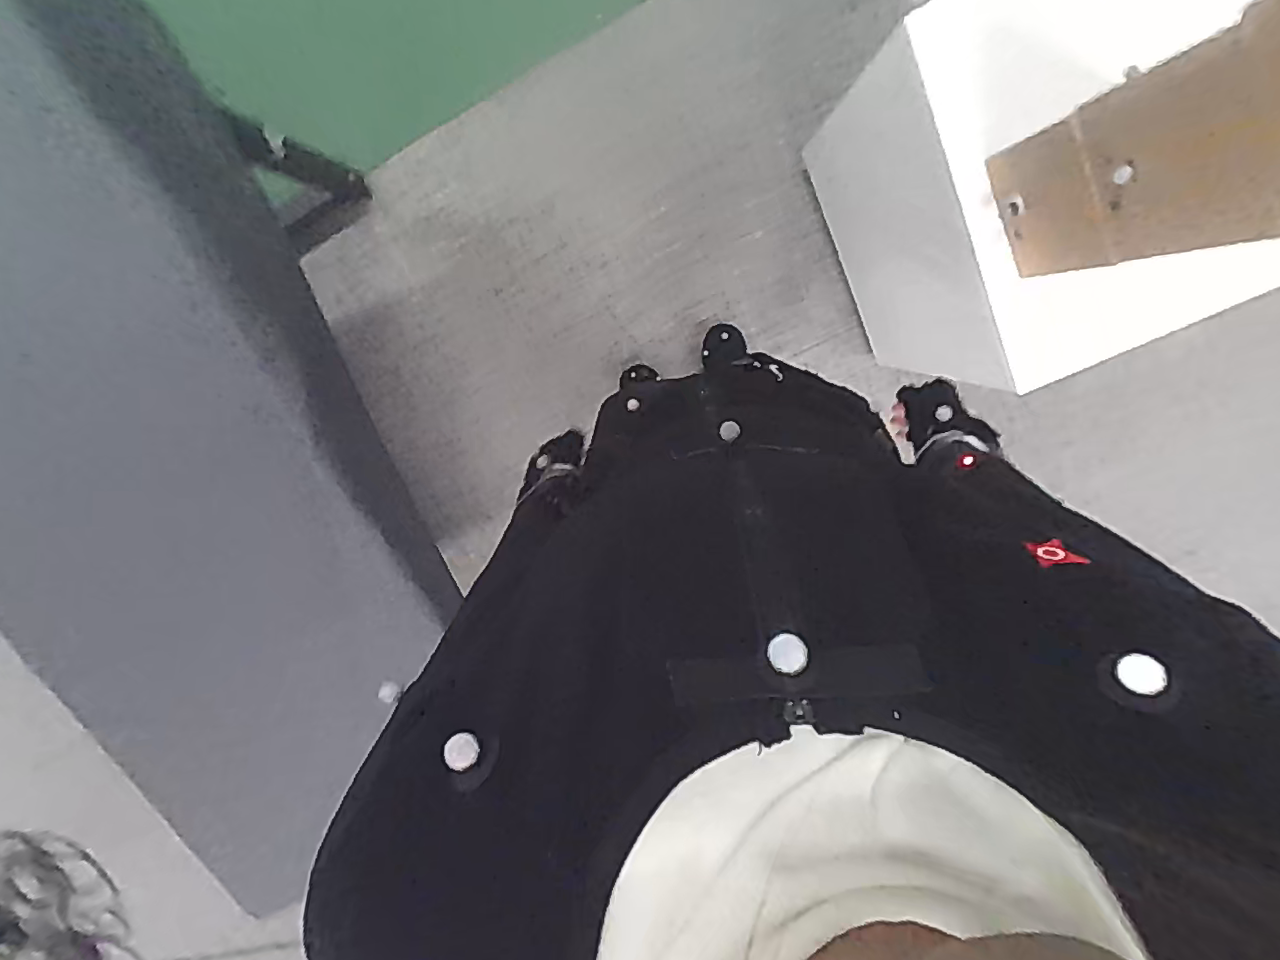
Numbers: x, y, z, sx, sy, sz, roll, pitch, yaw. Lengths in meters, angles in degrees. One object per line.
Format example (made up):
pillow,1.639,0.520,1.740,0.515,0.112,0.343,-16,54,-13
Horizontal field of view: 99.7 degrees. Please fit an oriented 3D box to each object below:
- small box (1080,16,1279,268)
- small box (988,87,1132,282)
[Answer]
small box,0.537,-0.303,0.455,0.179,0.176,0.168,-28,102,9
small box,0.545,-0.344,0.614,0.179,0.176,0.168,-25,102,12
